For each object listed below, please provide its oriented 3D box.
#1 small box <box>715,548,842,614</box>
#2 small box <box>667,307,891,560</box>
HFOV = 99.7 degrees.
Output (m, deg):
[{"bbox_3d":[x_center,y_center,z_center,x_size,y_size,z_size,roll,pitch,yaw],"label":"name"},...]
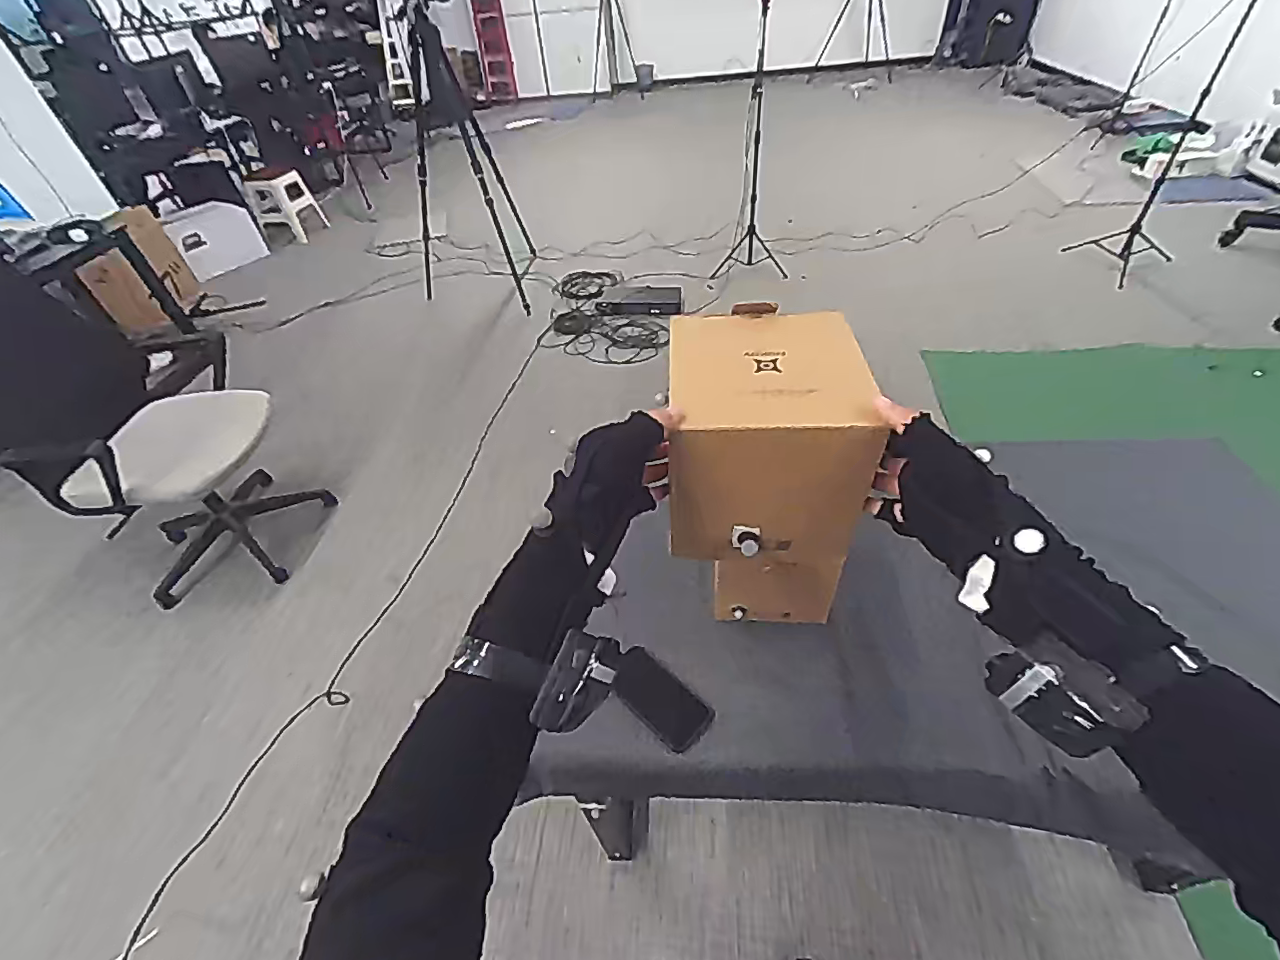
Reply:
[{"bbox_3d":[0.202,0.089,0.829,0.168,0.176,0.179,1,44,7],"label":"small box"},{"bbox_3d":[0.111,-0.045,0.513,0.168,0.176,0.179,0,47,5],"label":"small box"}]
